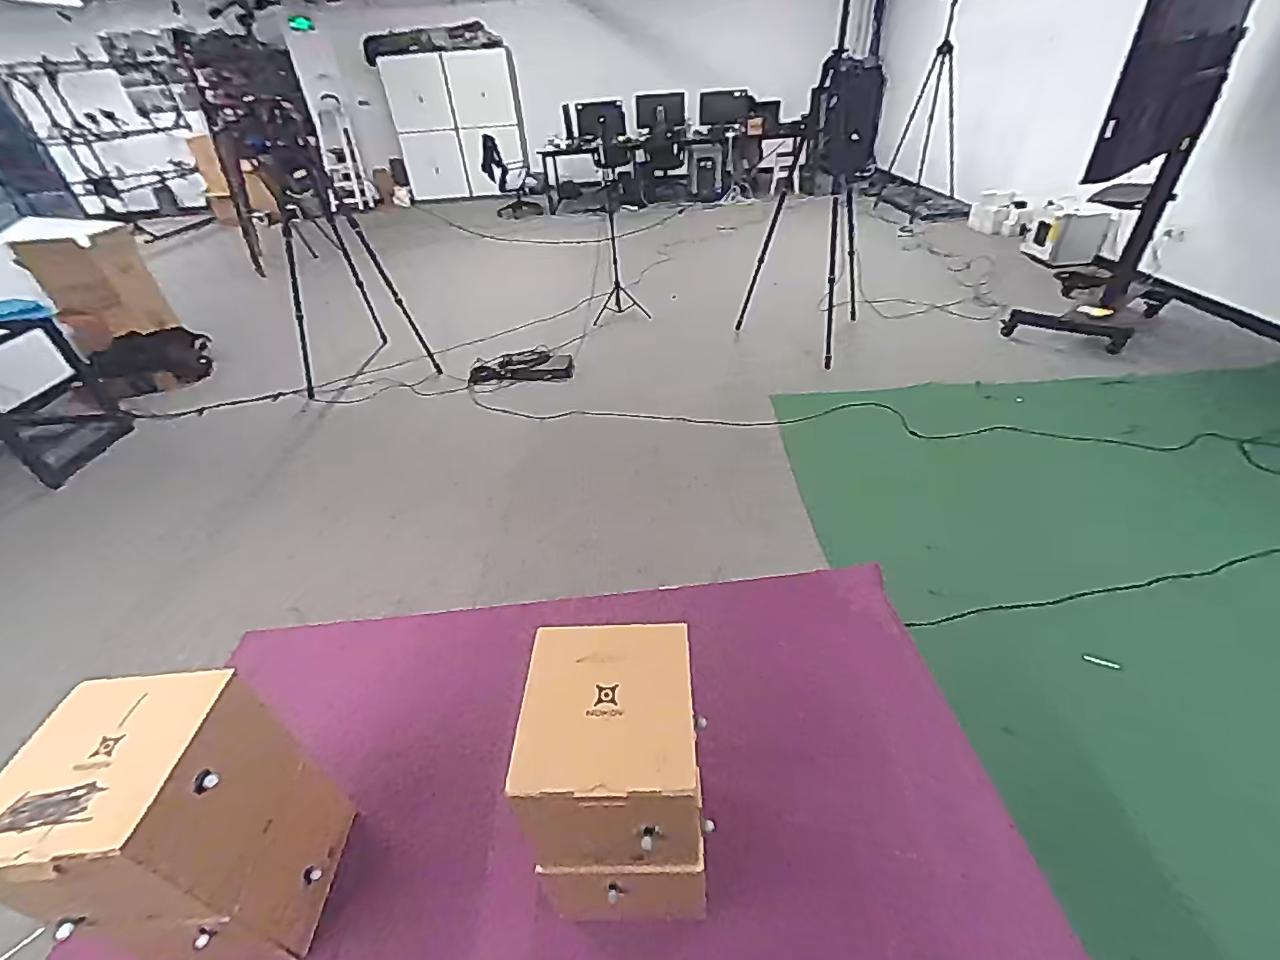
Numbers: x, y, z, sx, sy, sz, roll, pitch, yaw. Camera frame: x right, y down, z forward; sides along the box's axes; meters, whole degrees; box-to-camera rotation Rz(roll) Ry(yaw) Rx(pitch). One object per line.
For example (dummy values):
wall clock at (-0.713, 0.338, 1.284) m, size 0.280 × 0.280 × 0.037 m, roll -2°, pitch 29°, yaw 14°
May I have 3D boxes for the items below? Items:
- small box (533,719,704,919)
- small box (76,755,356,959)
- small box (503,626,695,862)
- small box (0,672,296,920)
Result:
small box at (-0.015, 0.413, 0.662) m, size 0.179 × 0.176 × 0.168 m, roll -3°, pitch 38°, yaw 4°
small box at (-0.490, 0.465, 0.662) m, size 0.179 × 0.176 × 0.168 m, roll -5°, pitch 37°, yaw 0°
small box at (-0.028, 0.278, 0.572) m, size 0.168 × 0.176 × 0.179 m, roll -2°, pitch 37°, yaw 4°
small box at (-0.504, 0.331, 0.566) m, size 0.168 × 0.176 × 0.179 m, roll -5°, pitch 36°, yaw 0°
